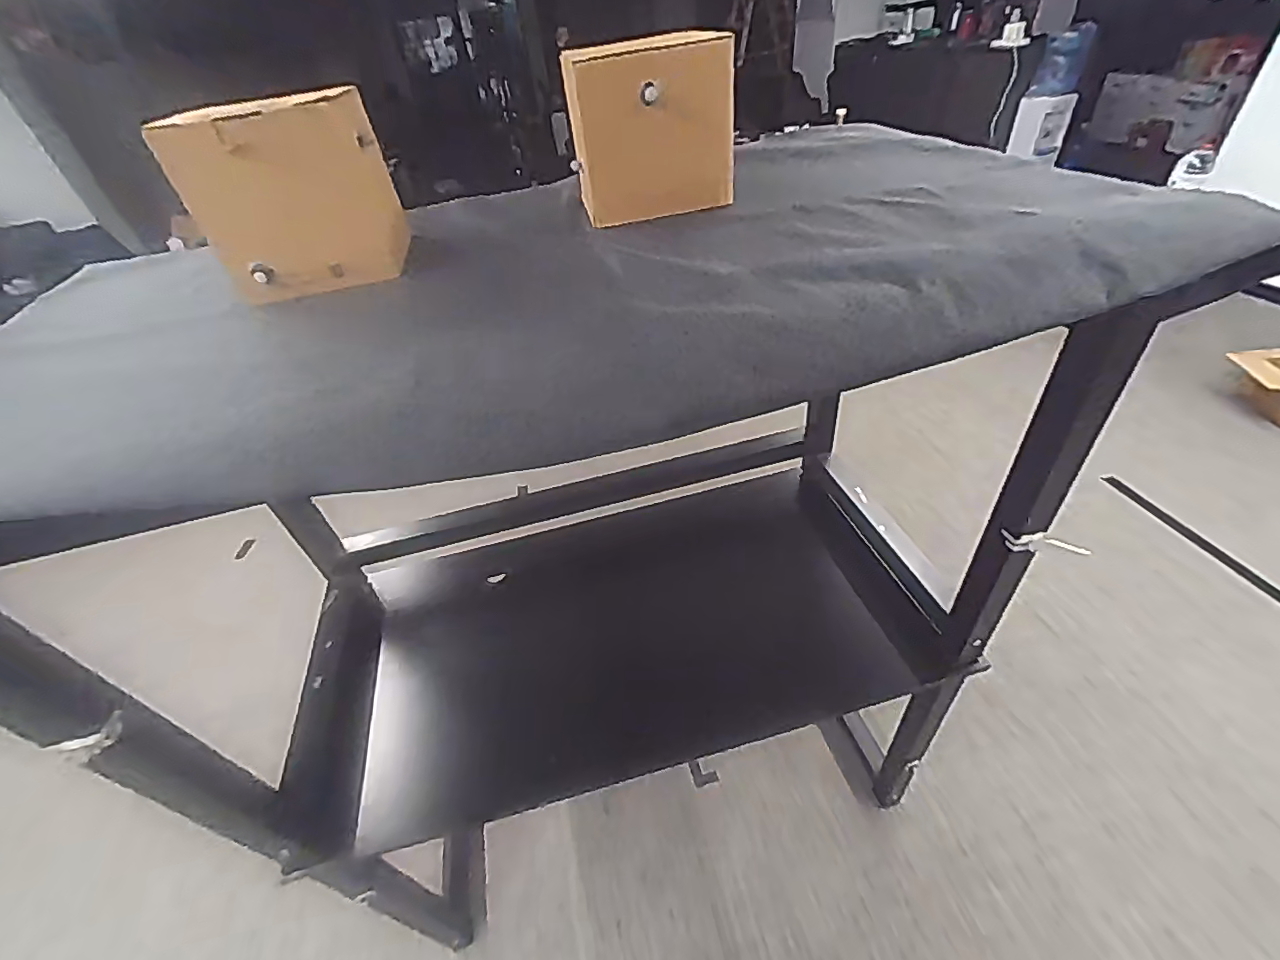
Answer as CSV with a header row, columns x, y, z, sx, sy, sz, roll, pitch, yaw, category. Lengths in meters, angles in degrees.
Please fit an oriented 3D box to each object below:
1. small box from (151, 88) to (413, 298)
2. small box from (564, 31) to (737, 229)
x,y,z,sx,sy,sz,roll,pitch,yaw,category
-0.372,-0.319,0.608,0.168,0.176,0.179,-14,40,-6,small box
0.012,-0.432,0.669,0.179,0.176,0.168,-12,41,-3,small box
